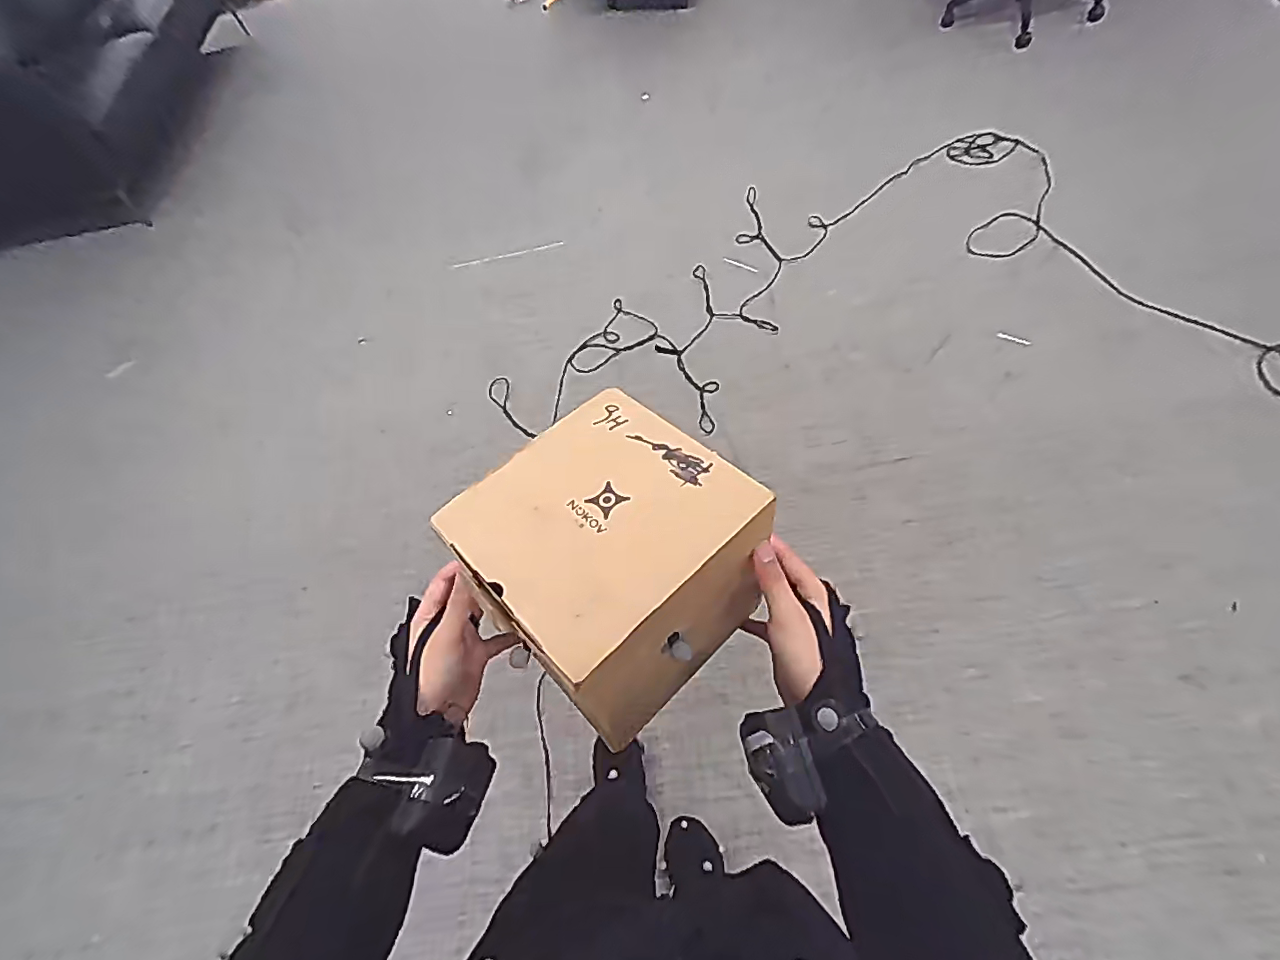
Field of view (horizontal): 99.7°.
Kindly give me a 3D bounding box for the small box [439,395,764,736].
[{"bbox_3d":[-0.019,0.071,0.436,0.179,0.176,0.168,-40,58,-20],"label":"small box"}]
